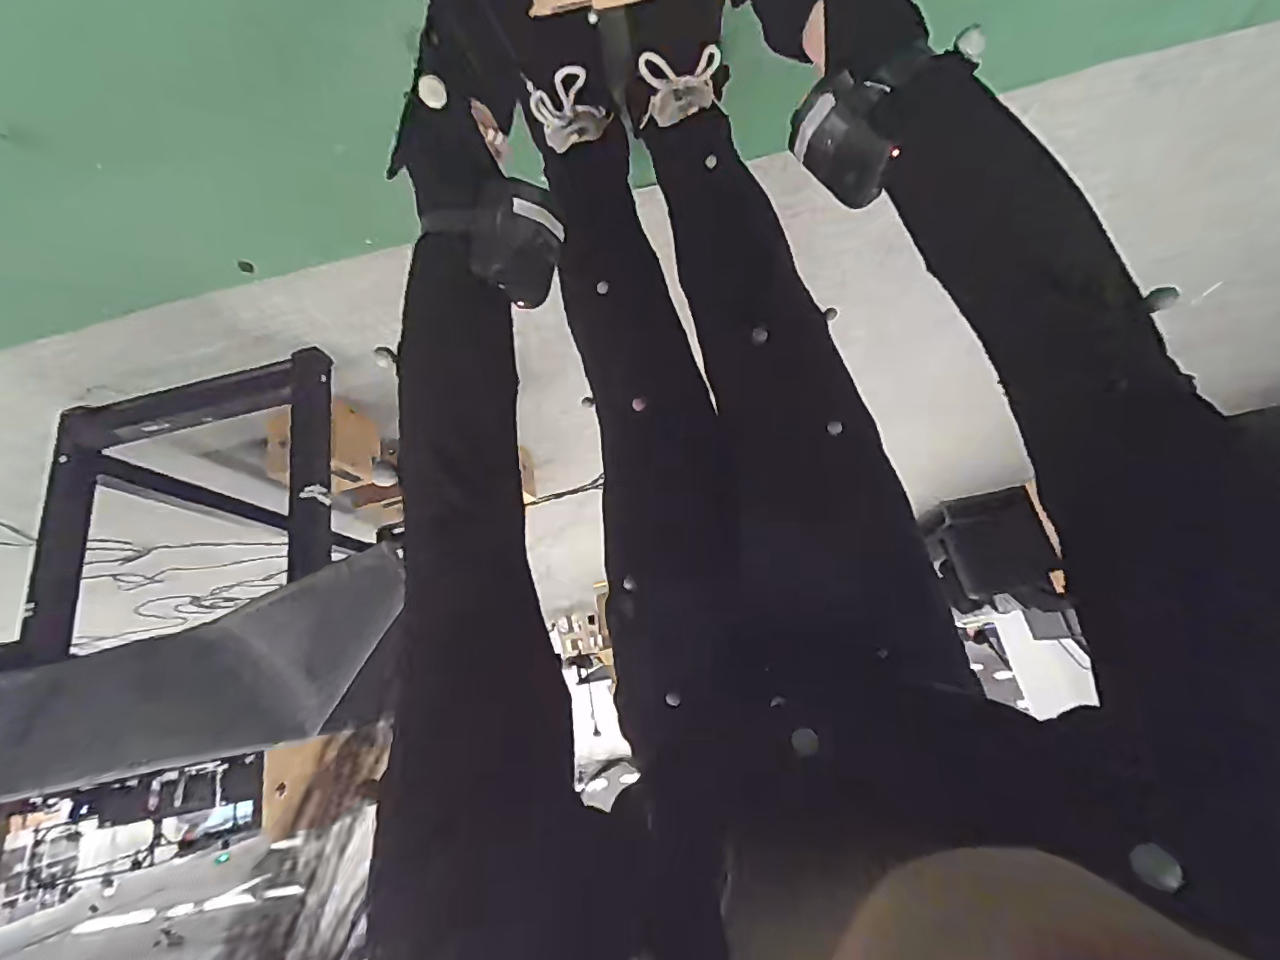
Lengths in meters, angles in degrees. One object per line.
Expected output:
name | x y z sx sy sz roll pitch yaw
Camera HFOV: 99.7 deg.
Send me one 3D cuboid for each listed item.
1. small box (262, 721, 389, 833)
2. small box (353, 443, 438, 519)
small box | -0.665 0.626 1.160 0.179 0.176 0.168 -13 162 6
small box | -0.715 0.001 1.580 0.168 0.176 0.179 -13 162 5
